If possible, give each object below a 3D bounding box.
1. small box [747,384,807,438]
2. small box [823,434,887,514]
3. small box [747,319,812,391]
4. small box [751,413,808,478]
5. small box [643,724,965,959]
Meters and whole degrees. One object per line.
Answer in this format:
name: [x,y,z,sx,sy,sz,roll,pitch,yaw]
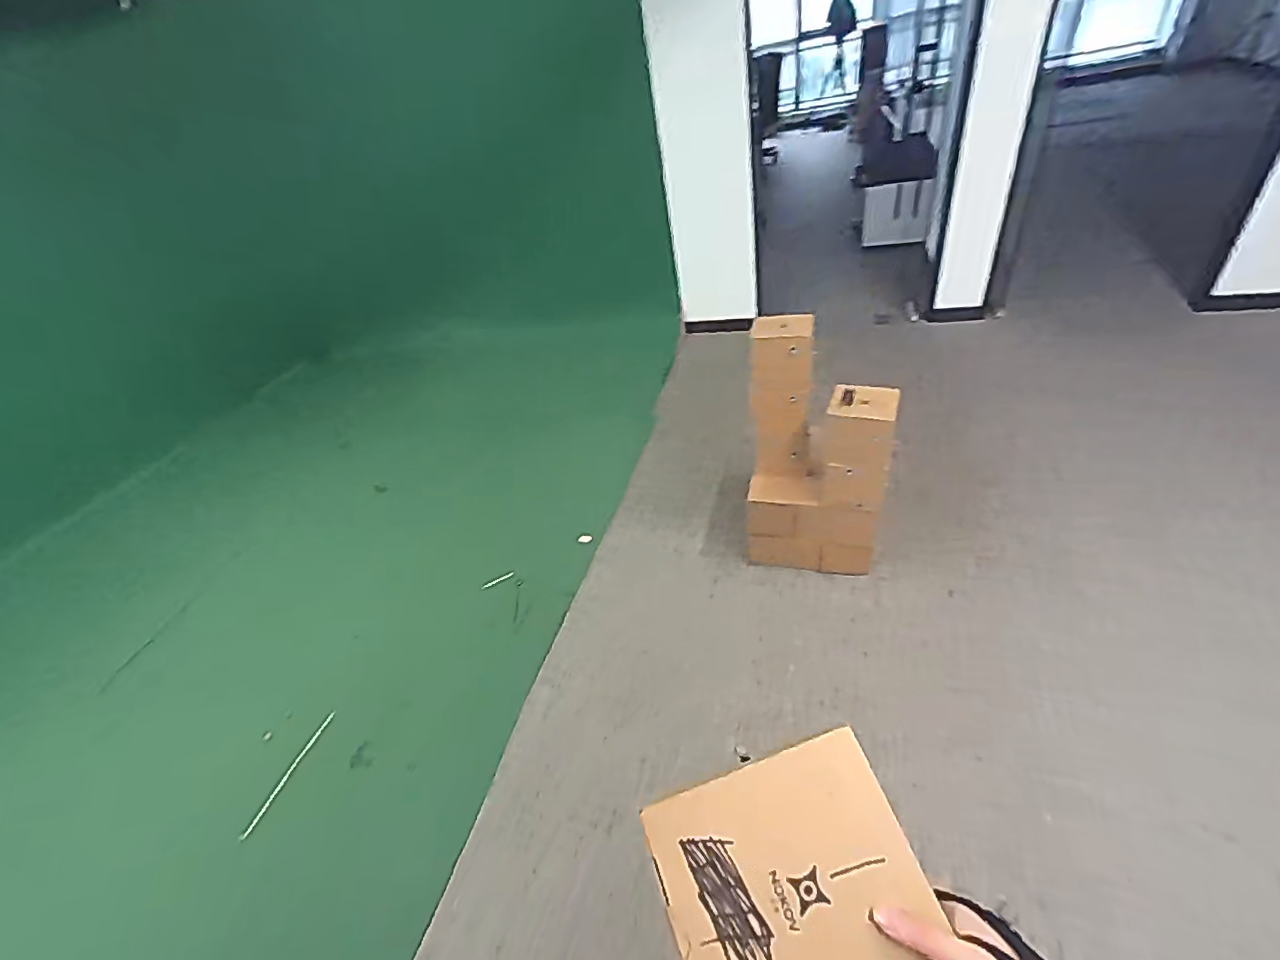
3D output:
small box: [0.445,-0.247,1.752,0.179,0.176,0.168,3,38,17]
small box: [0.658,-0.020,1.663,0.168,0.176,0.179,6,40,21]
small box: [0.428,-0.380,1.655,0.179,0.176,0.168,3,37,19]
small box: [0.478,-0.118,1.844,0.179,0.176,0.168,1,38,17]
small box: [0.115,0.320,0.445,0.179,0.176,0.168,-19,62,-5]
